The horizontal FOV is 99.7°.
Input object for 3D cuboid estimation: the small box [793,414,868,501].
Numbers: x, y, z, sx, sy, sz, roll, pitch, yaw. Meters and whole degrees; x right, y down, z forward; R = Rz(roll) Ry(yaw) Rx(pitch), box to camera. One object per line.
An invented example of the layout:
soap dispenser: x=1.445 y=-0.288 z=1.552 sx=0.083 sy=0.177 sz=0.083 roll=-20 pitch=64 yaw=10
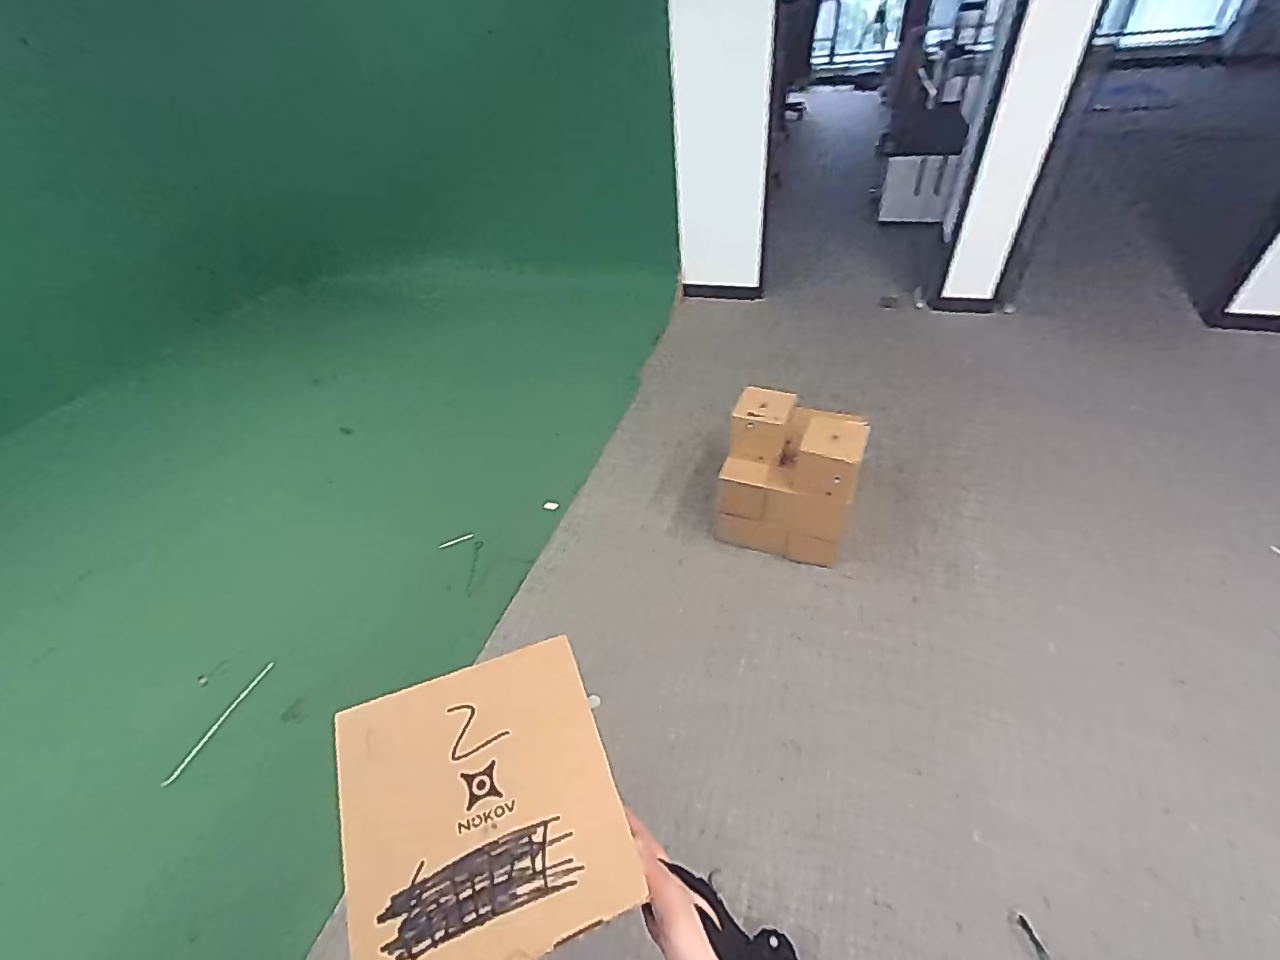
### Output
small box: x=0.559 y=-0.064 z=1.601 sx=0.168 sy=0.176 sz=0.179 roll=16 pitch=47 yaw=21

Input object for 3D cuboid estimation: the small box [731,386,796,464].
small box: x=0.393 y=-0.178 z=1.746 sx=0.168 sy=0.176 sz=0.179 roll=14 pitch=45 yaw=22
